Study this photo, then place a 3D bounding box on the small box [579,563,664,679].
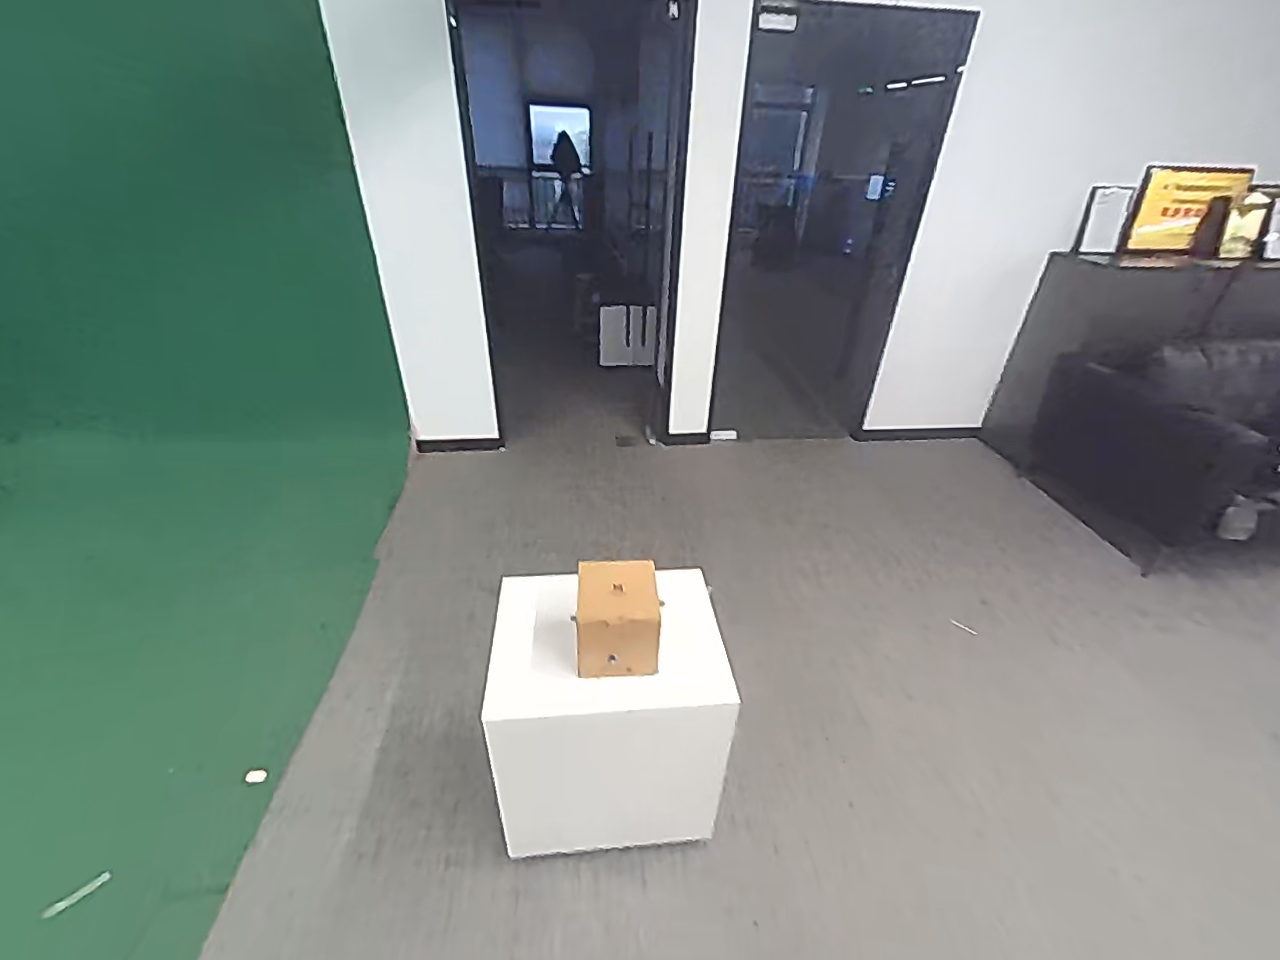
[{"bbox_3d":[-0.044,0.295,1.144,0.168,0.176,0.179,-1,32,-5],"label":"small box"}]
